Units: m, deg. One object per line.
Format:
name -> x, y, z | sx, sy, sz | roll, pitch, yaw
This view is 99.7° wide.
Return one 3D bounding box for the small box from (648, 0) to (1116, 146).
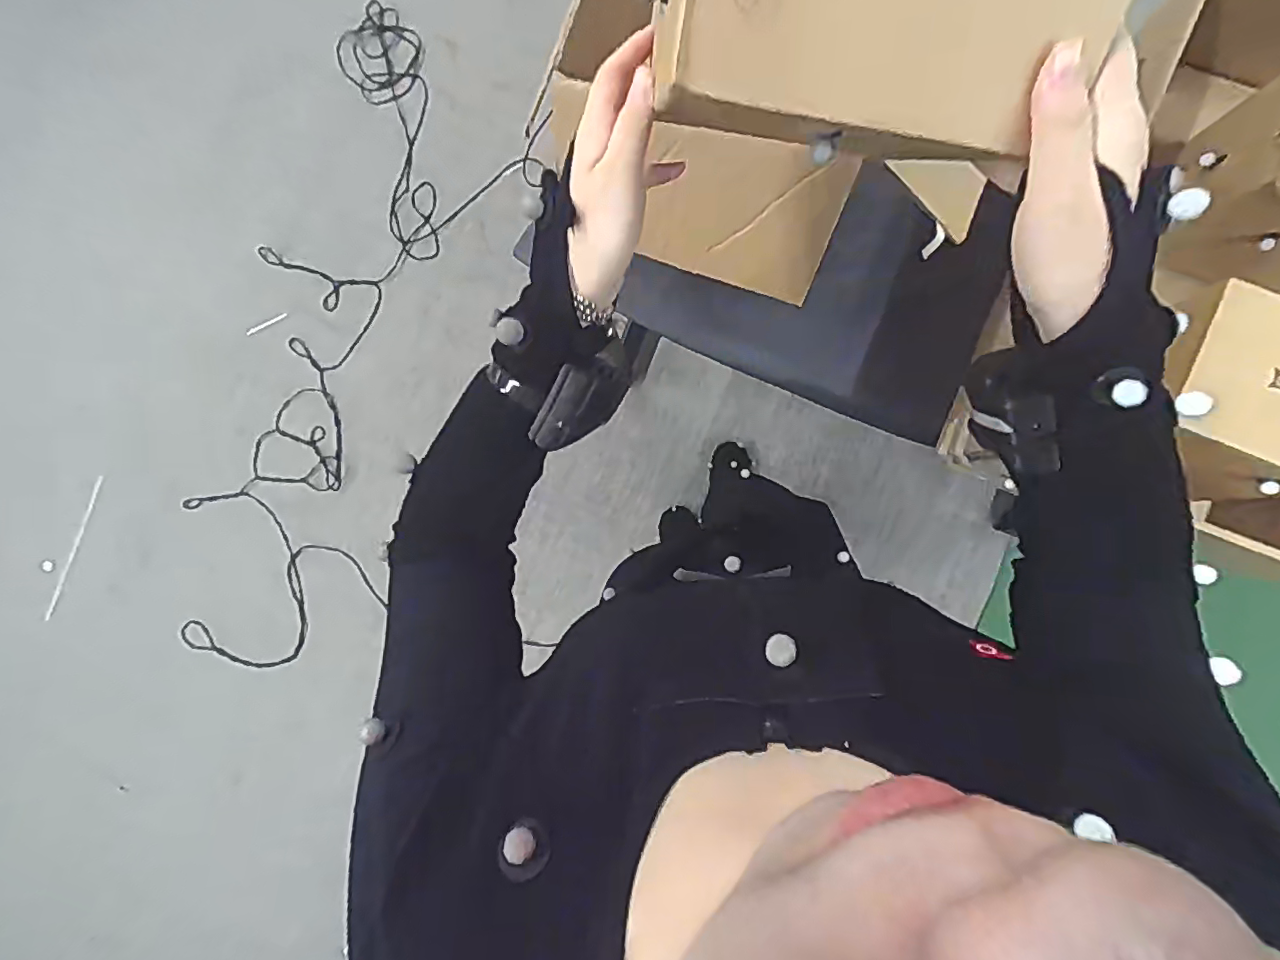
small box -> 0.102, -0.266, 0.257 | 0.179, 0.176, 0.168 | 4, 121, -8
